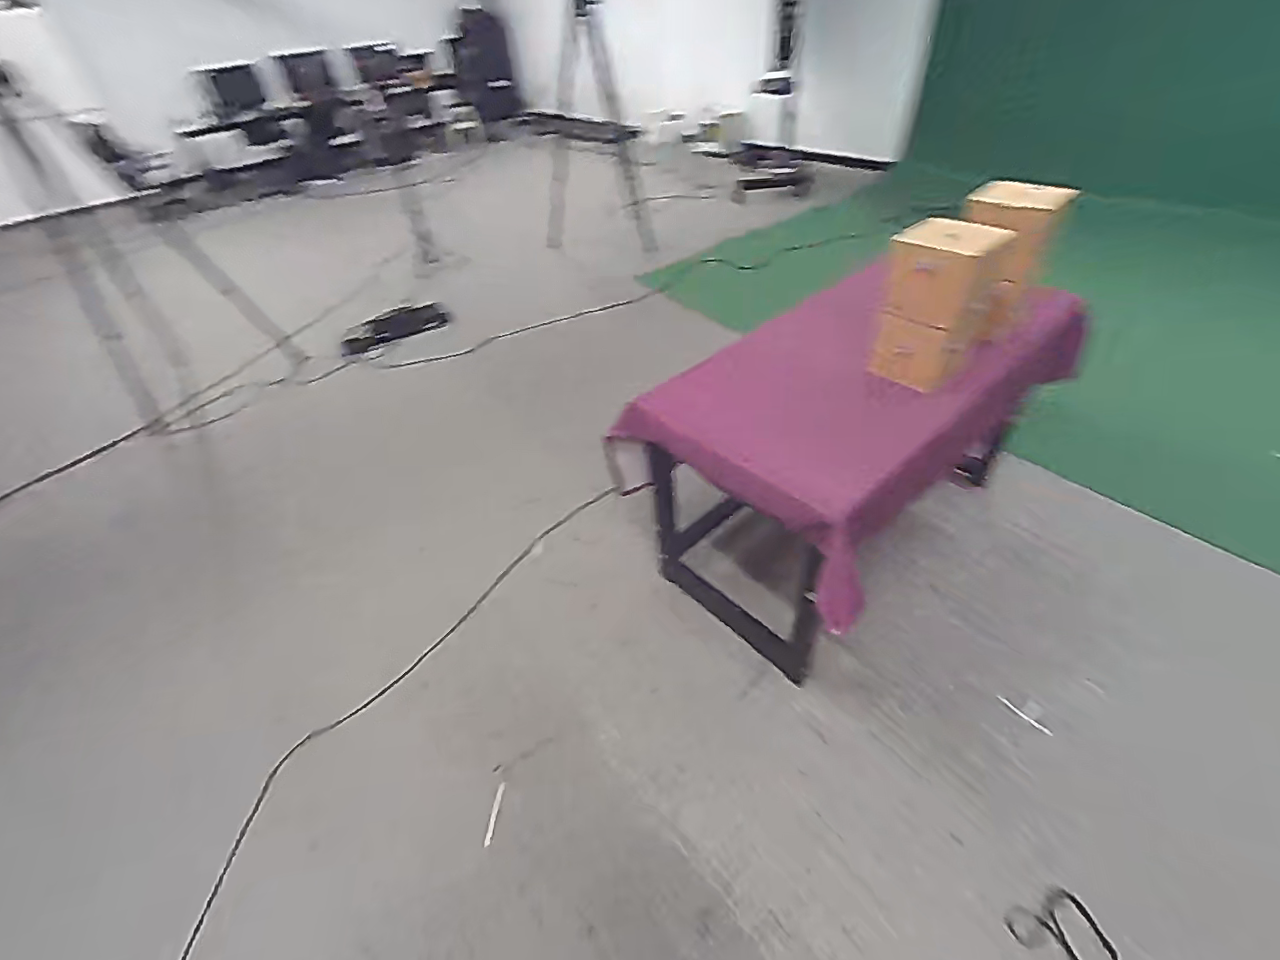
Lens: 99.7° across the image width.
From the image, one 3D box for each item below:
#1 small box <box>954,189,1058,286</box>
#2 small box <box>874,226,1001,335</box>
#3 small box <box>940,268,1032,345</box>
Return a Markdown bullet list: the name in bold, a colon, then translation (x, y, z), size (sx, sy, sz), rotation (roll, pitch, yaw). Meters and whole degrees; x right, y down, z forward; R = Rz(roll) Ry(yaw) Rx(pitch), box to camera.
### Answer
- **small box**: translation (0.900, -0.608, 1.361), size (0.179, 0.176, 0.168), rotation (-36, 51, -28)
- **small box**: translation (0.656, -0.448, 1.214), size (0.168, 0.176, 0.179), rotation (-32, 47, -24)
- **small box**: translation (0.912, -0.488, 1.472), size (0.168, 0.176, 0.179), rotation (-36, 50, -28)
